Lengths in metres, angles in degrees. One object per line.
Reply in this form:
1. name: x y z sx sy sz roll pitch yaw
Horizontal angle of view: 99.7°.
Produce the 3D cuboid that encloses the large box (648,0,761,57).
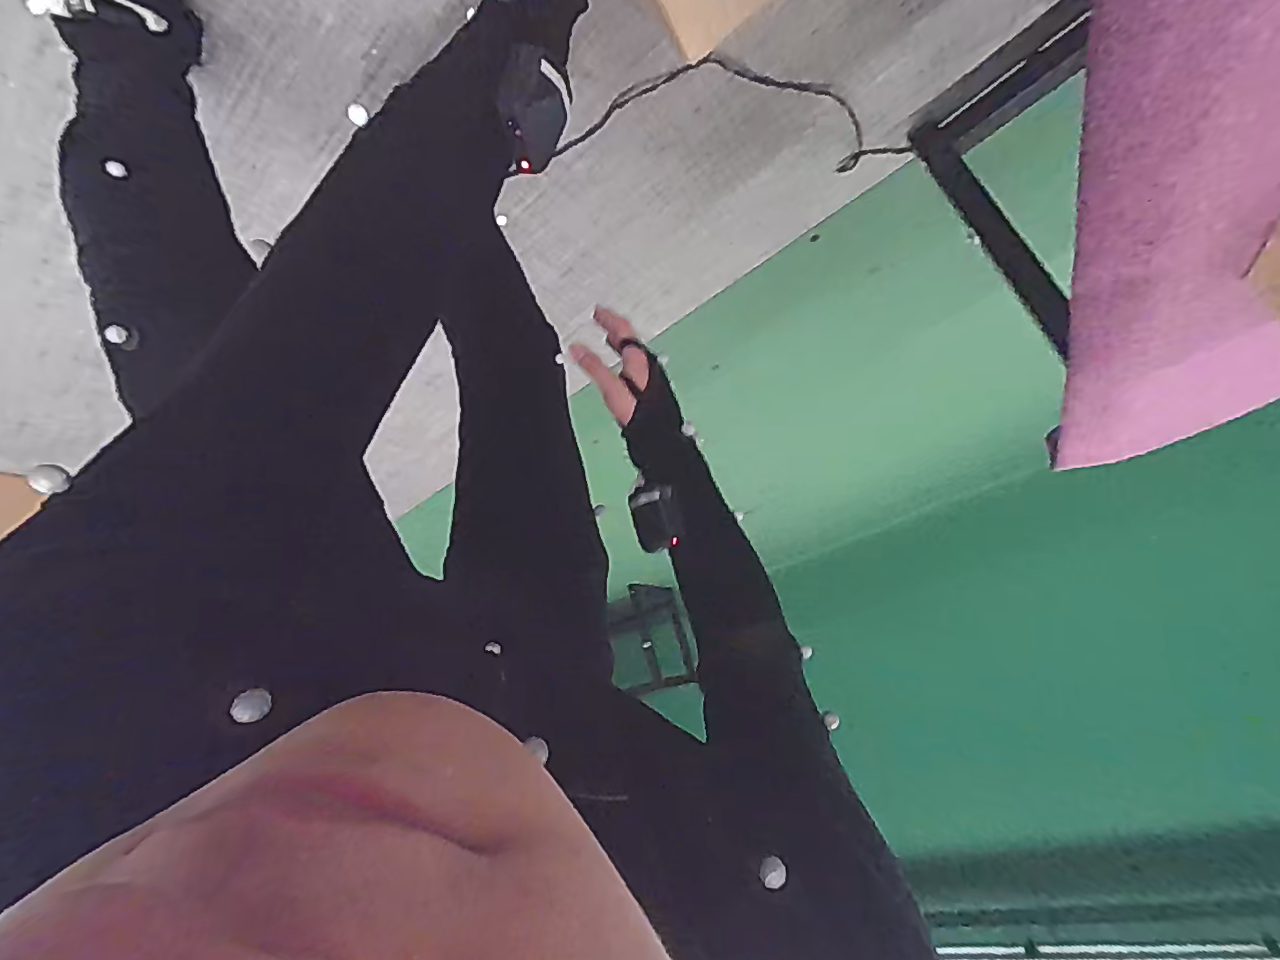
1. large box: 0.079 -0.647 0.377 0.408 0.320 0.320 -32 152 19
